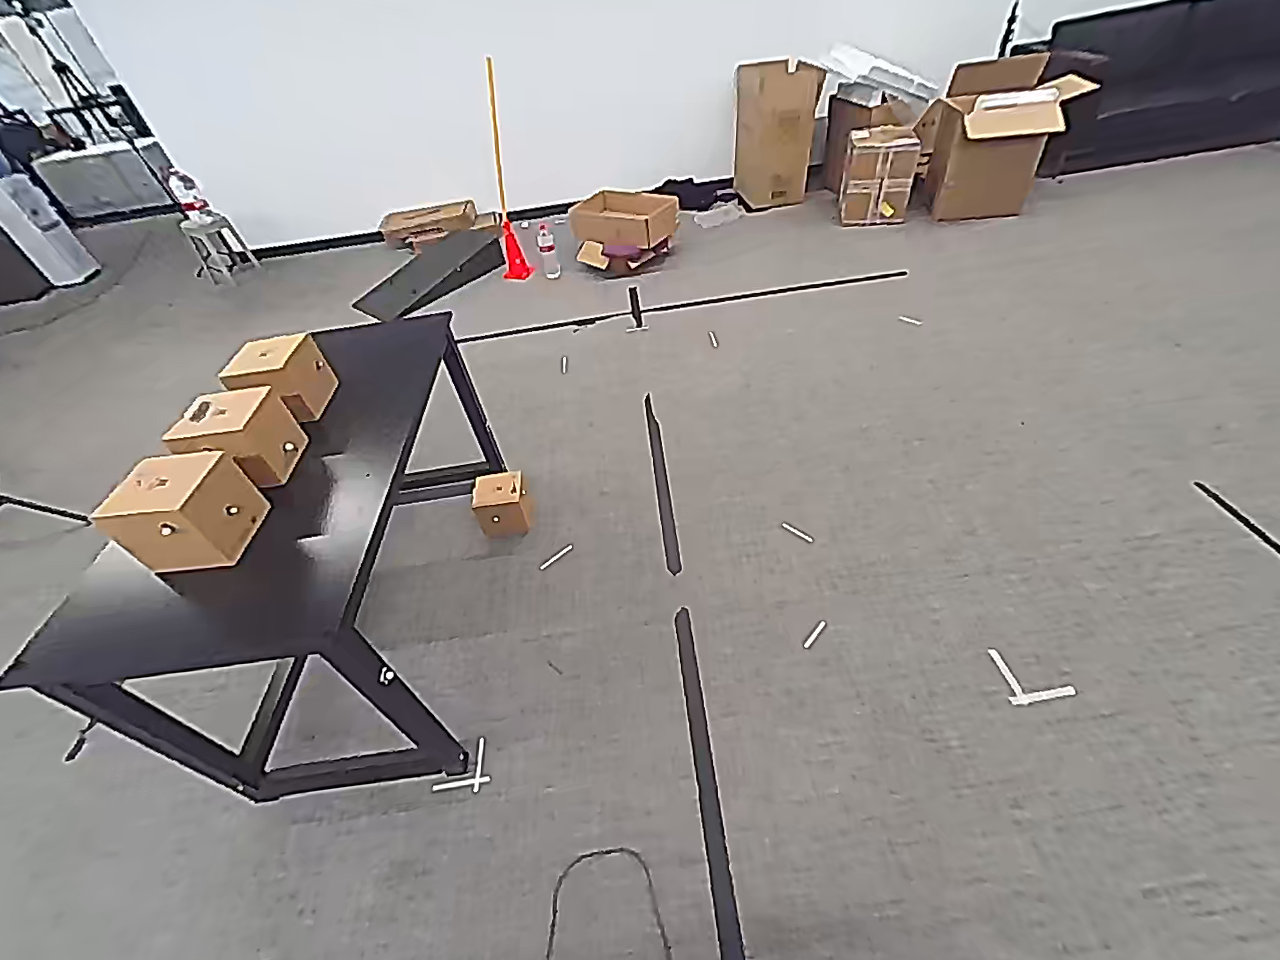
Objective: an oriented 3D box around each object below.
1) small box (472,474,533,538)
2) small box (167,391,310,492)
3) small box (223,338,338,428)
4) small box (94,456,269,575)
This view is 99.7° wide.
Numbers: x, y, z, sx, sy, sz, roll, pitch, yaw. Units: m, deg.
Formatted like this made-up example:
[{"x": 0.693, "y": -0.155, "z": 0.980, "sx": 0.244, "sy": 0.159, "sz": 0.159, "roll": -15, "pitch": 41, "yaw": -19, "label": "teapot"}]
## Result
[{"x": -0.516, "y": 0.104, "z": 2.050, "sx": 0.179, "sy": 0.176, "sz": 0.168, "roll": -9, "pitch": 45, "yaw": 1, "label": "small box"}, {"x": -0.917, "y": -0.082, "z": 1.255, "sx": 0.179, "sy": 0.176, "sz": 0.168, "roll": -8, "pitch": 43, "yaw": -1, "label": "small box"}, {"x": -0.939, "y": -0.251, "z": 1.436, "sx": 0.168, "sy": 0.176, "sz": 0.179, "roll": -10, "pitch": 44, "yaw": 2, "label": "small box"}, {"x": -0.904, "y": 0.073, "z": 1.093, "sx": 0.179, "sy": 0.176, "sz": 0.168, "roll": -6, "pitch": 43, "yaw": 3, "label": "small box"}]
